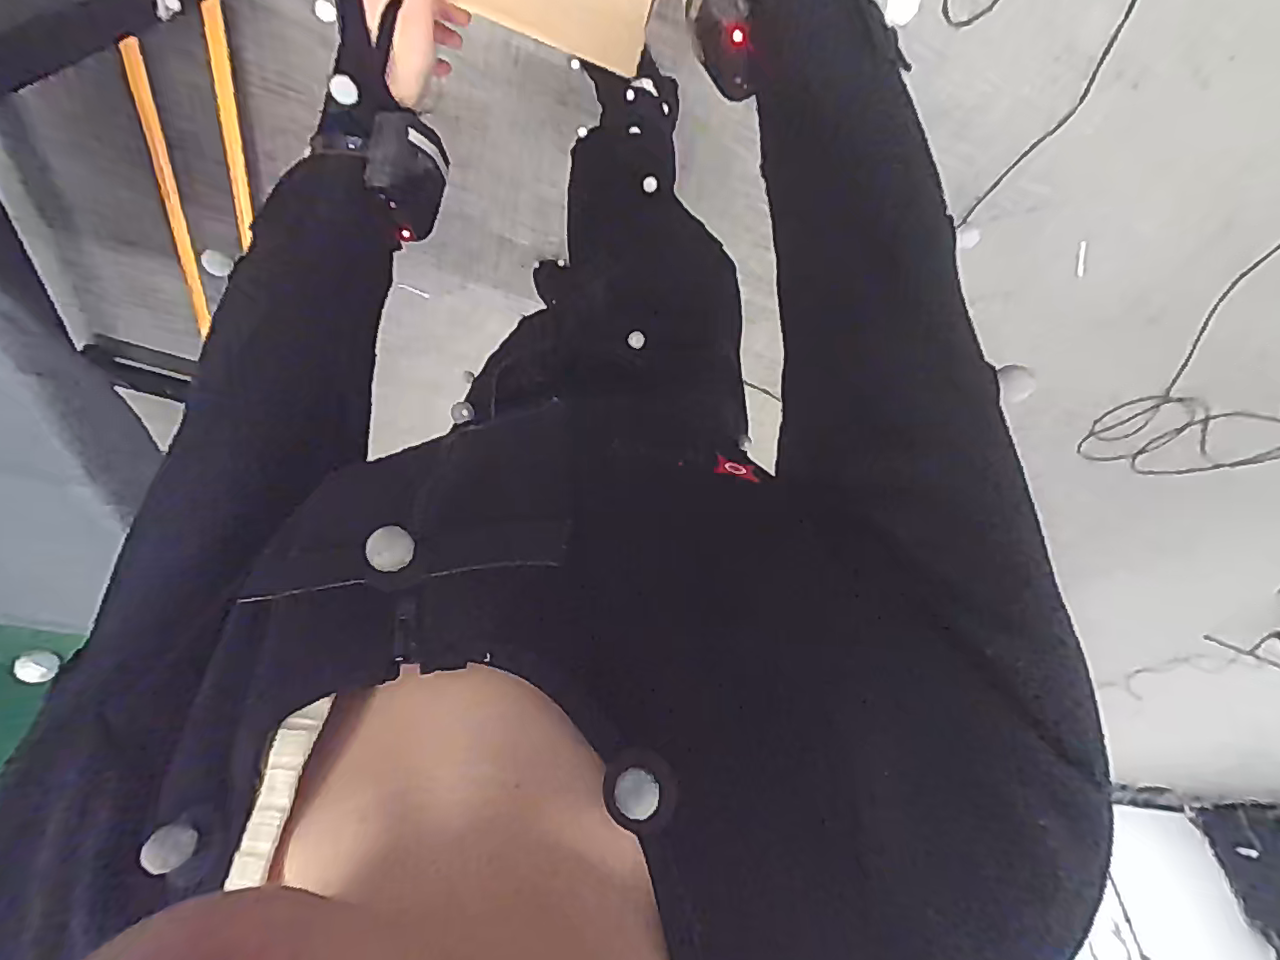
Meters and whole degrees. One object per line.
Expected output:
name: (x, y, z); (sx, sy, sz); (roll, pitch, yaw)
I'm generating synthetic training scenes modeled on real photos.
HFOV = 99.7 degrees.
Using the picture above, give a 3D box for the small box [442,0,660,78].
small box: (-0.057, -0.434, 0.381); (0.179, 0.176, 0.168); (14, 140, -13)
